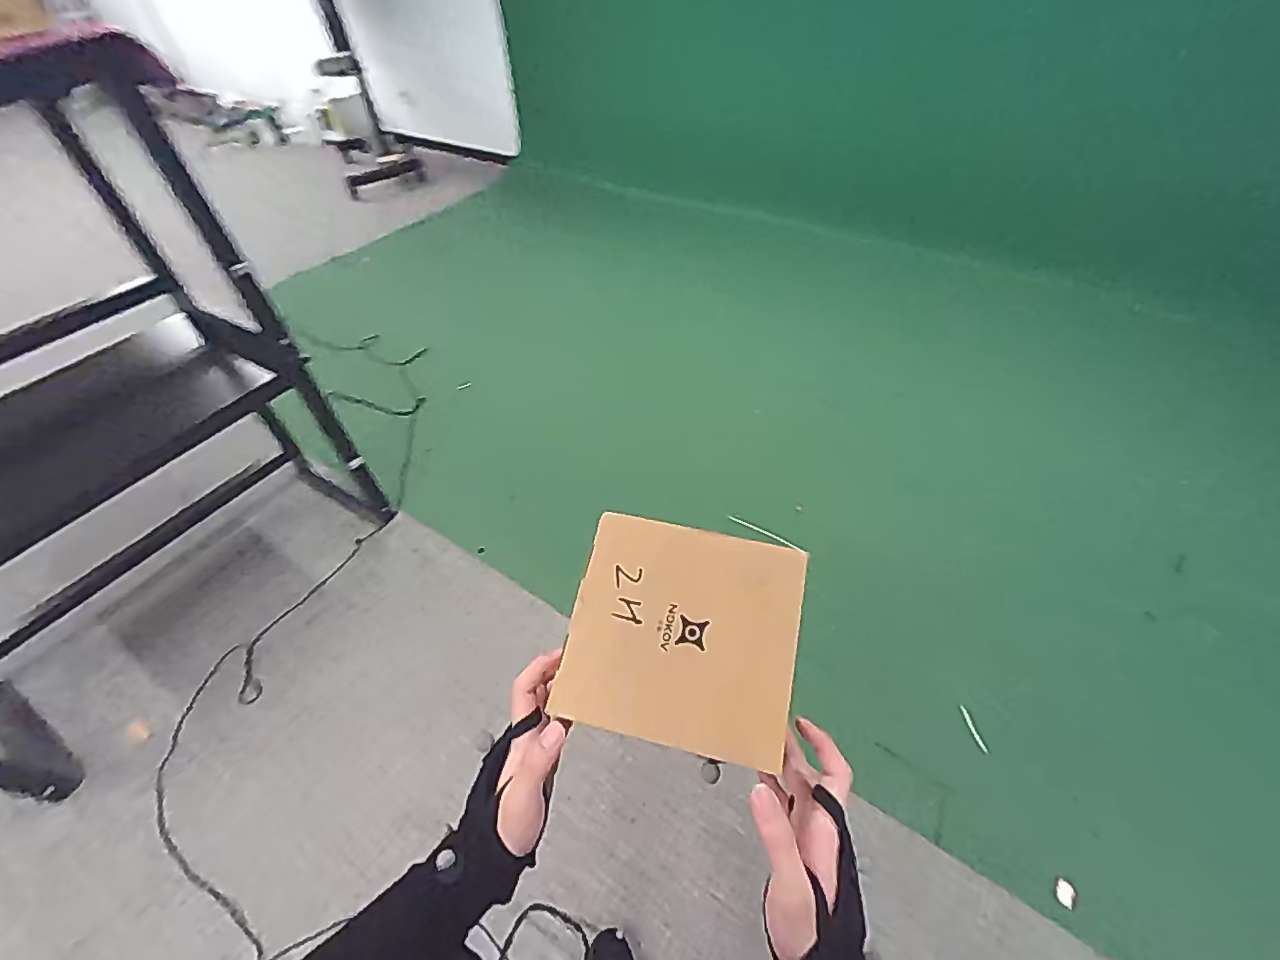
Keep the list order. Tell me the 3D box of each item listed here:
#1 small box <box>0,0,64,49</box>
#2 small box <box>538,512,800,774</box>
[{"bbox_3d":[-1.176,-0.856,0.935,0.179,0.176,0.168,24,54,25],"label":"small box"},{"bbox_3d":[0.032,0.148,0.490,0.179,0.176,0.168,10,67,10],"label":"small box"}]
